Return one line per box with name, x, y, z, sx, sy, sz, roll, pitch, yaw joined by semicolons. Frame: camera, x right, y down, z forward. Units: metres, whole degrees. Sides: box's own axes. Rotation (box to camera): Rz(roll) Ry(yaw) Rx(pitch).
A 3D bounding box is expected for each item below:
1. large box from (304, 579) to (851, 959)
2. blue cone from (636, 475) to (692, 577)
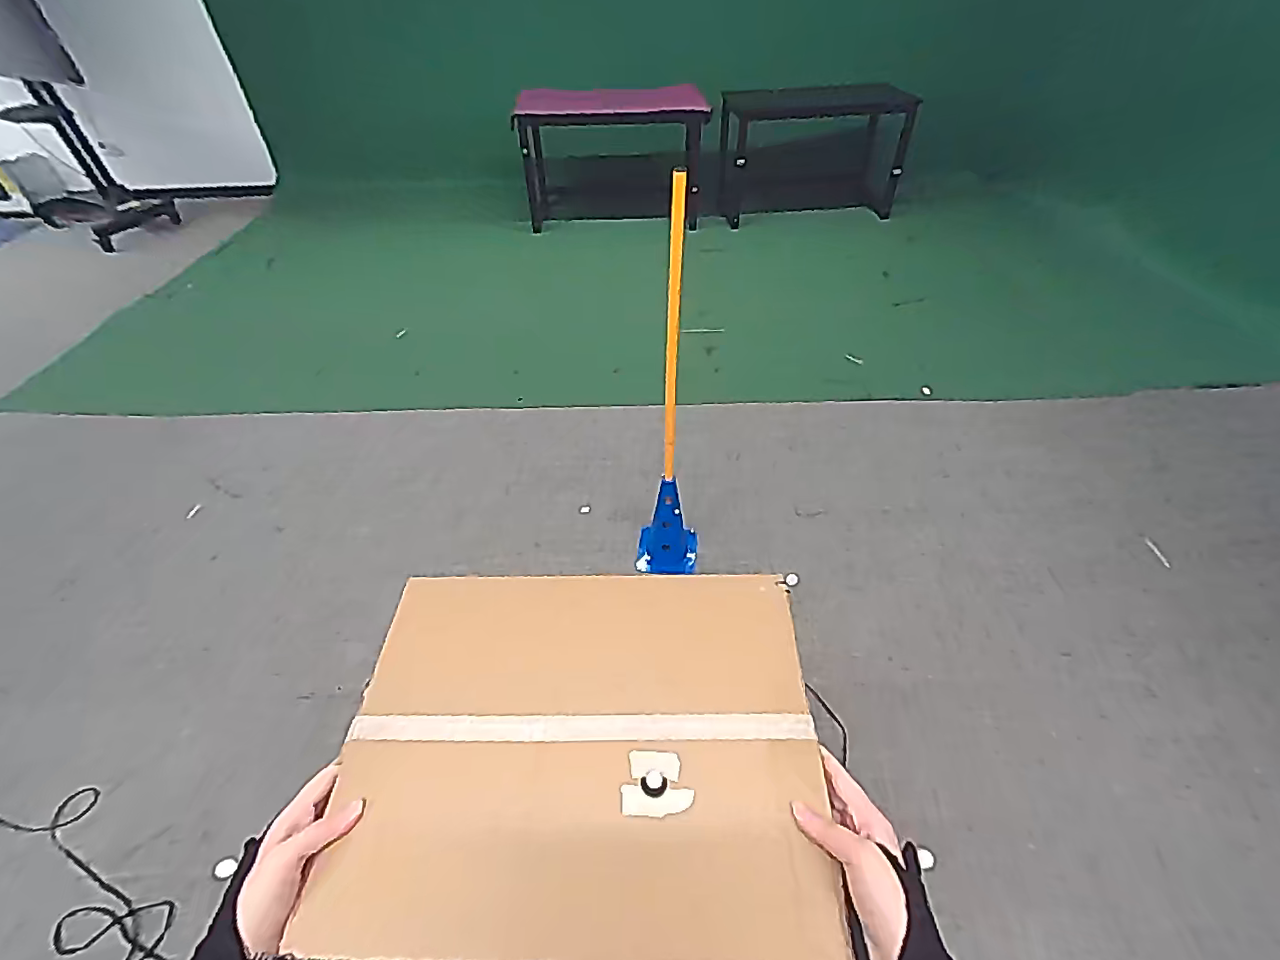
large box;-0.045;0.324;0.595;0.408;0.320;0.320;-1;47;1
blue cone;0.082;0.138;1.772;0.193;0.380;0.192;5;44;6
